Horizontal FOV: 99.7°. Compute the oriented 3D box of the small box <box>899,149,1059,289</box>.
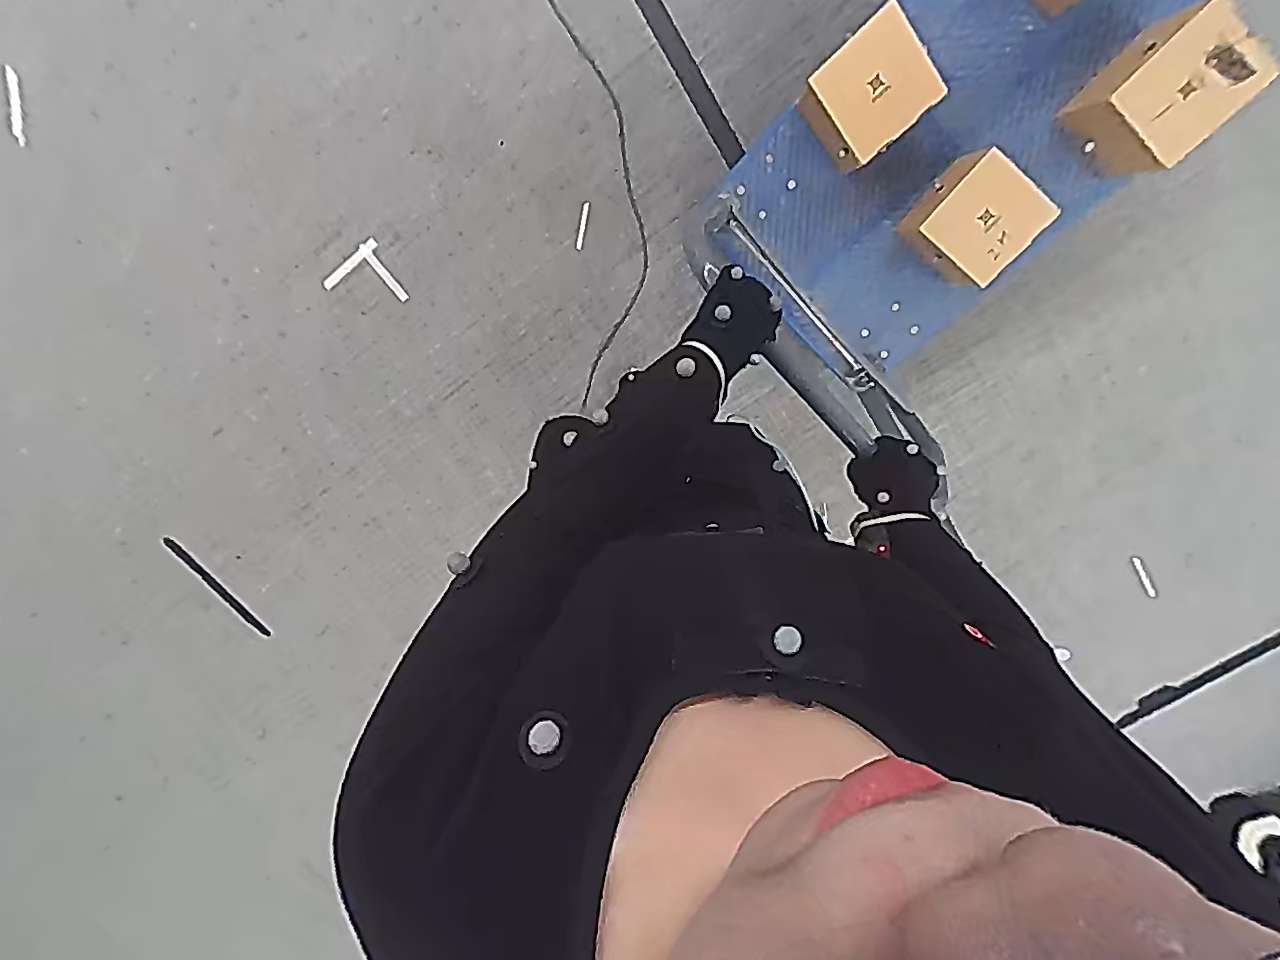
[{"bbox_3d":[0.640,-0.495,1.048,0.179,0.176,0.168,38,114,-8],"label":"small box"}]

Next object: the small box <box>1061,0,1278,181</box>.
[{"bbox_3d":[0.896,-0.654,0.936,0.168,0.176,0.179,41,114,-9],"label":"small box"}]

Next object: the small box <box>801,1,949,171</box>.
[{"bbox_3d":[0.418,-0.702,0.992,0.168,0.176,0.179,-36,105,21],"label":"small box"}]
